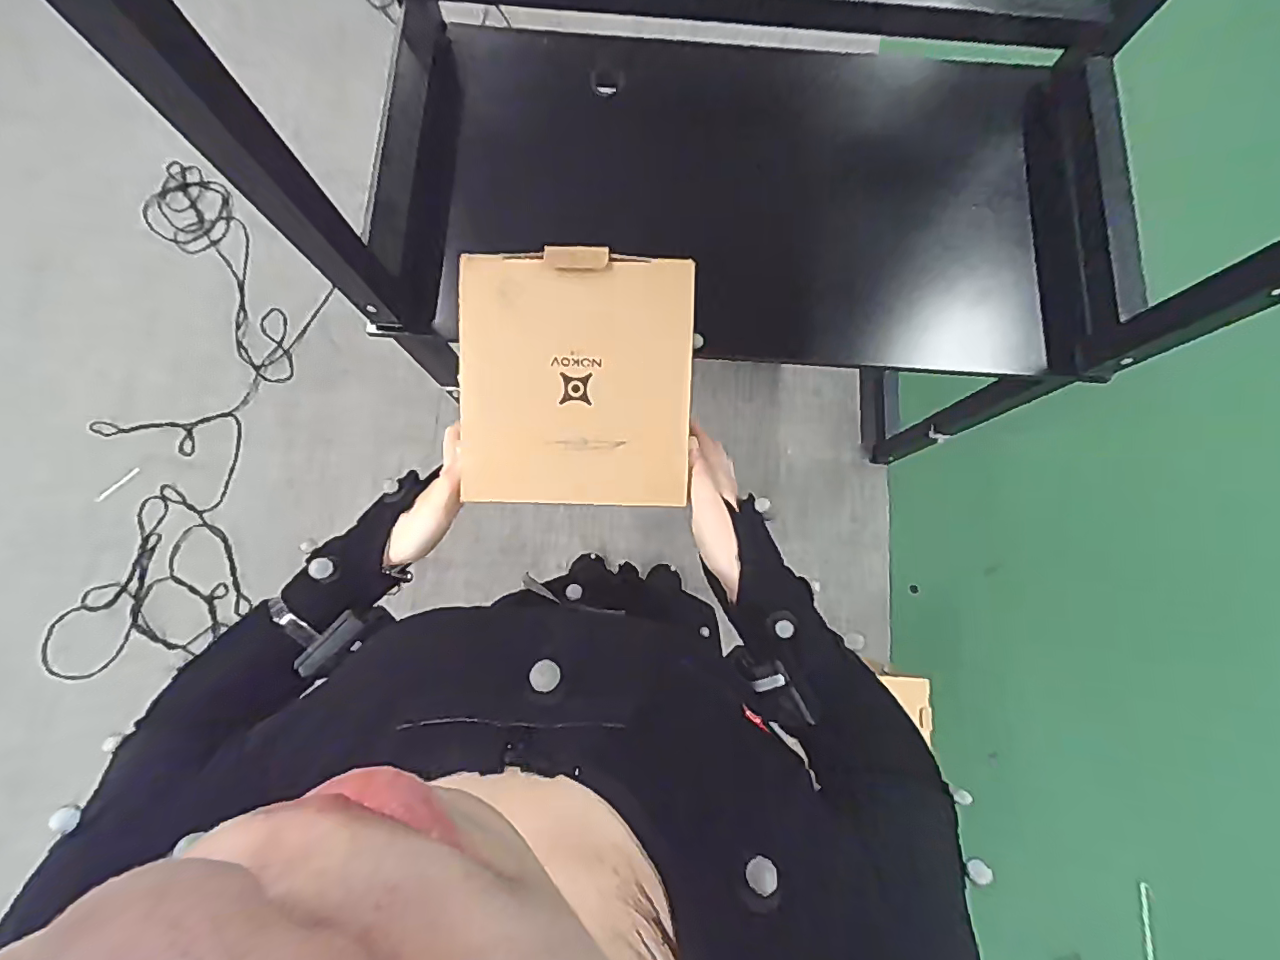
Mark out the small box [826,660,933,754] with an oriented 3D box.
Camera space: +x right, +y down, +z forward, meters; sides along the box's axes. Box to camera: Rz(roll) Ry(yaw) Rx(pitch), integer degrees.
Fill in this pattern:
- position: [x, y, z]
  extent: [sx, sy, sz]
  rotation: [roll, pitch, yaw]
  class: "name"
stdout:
- position: [0.536, 0.508, 1.232]
  extent: [0.179, 0.176, 0.168]
  rotation: [4, 80, -2]
  class: "small box"
